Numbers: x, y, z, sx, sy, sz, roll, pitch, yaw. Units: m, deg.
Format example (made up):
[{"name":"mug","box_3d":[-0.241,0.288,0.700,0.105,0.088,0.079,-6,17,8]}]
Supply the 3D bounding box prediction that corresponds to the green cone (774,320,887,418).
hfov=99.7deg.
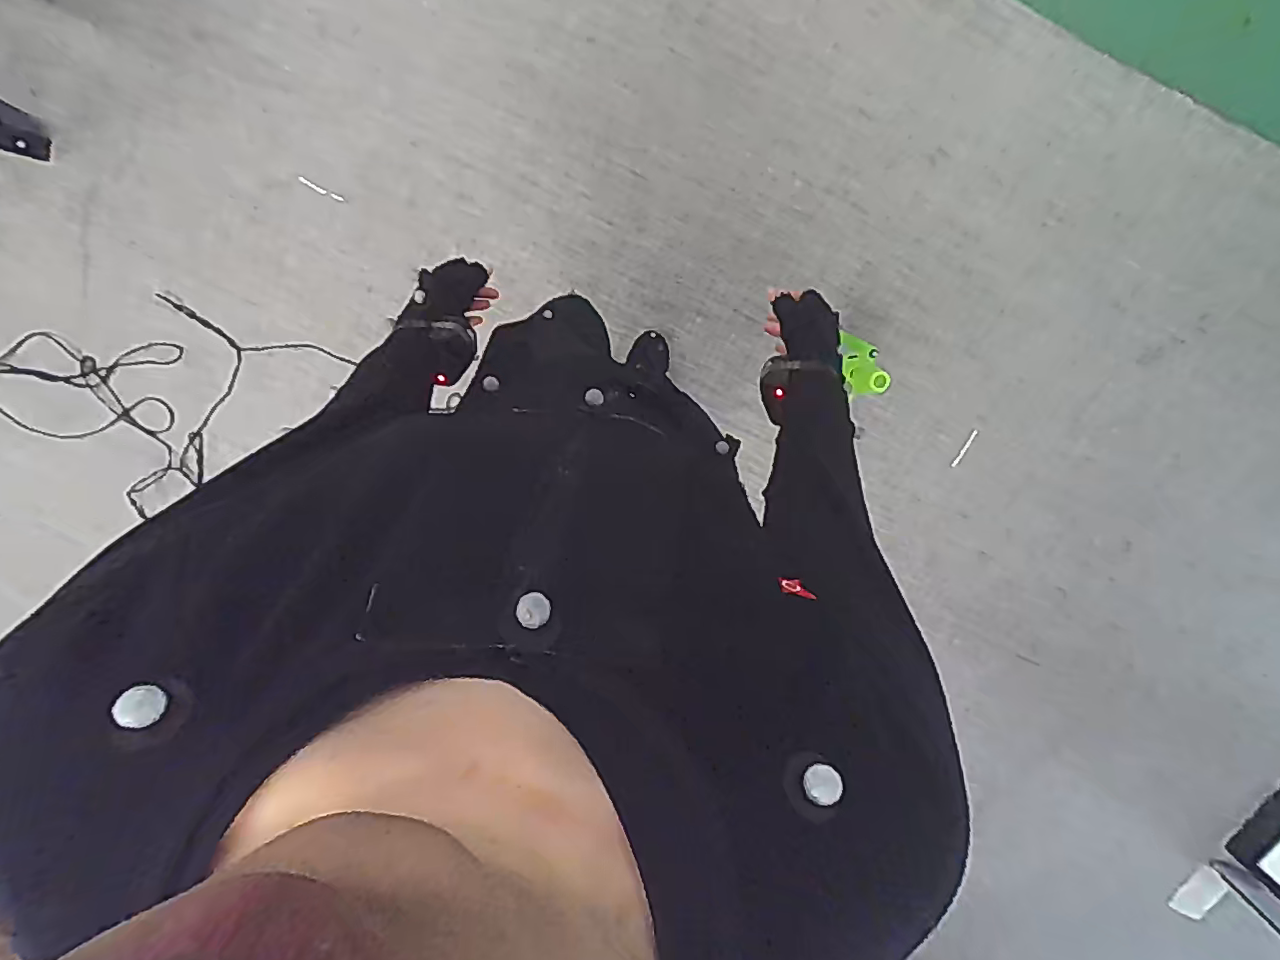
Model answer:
[{"name":"green cone","box_3d":[0.458,-0.232,1.202,0.200,0.368,0.202,23,105,-4]}]
